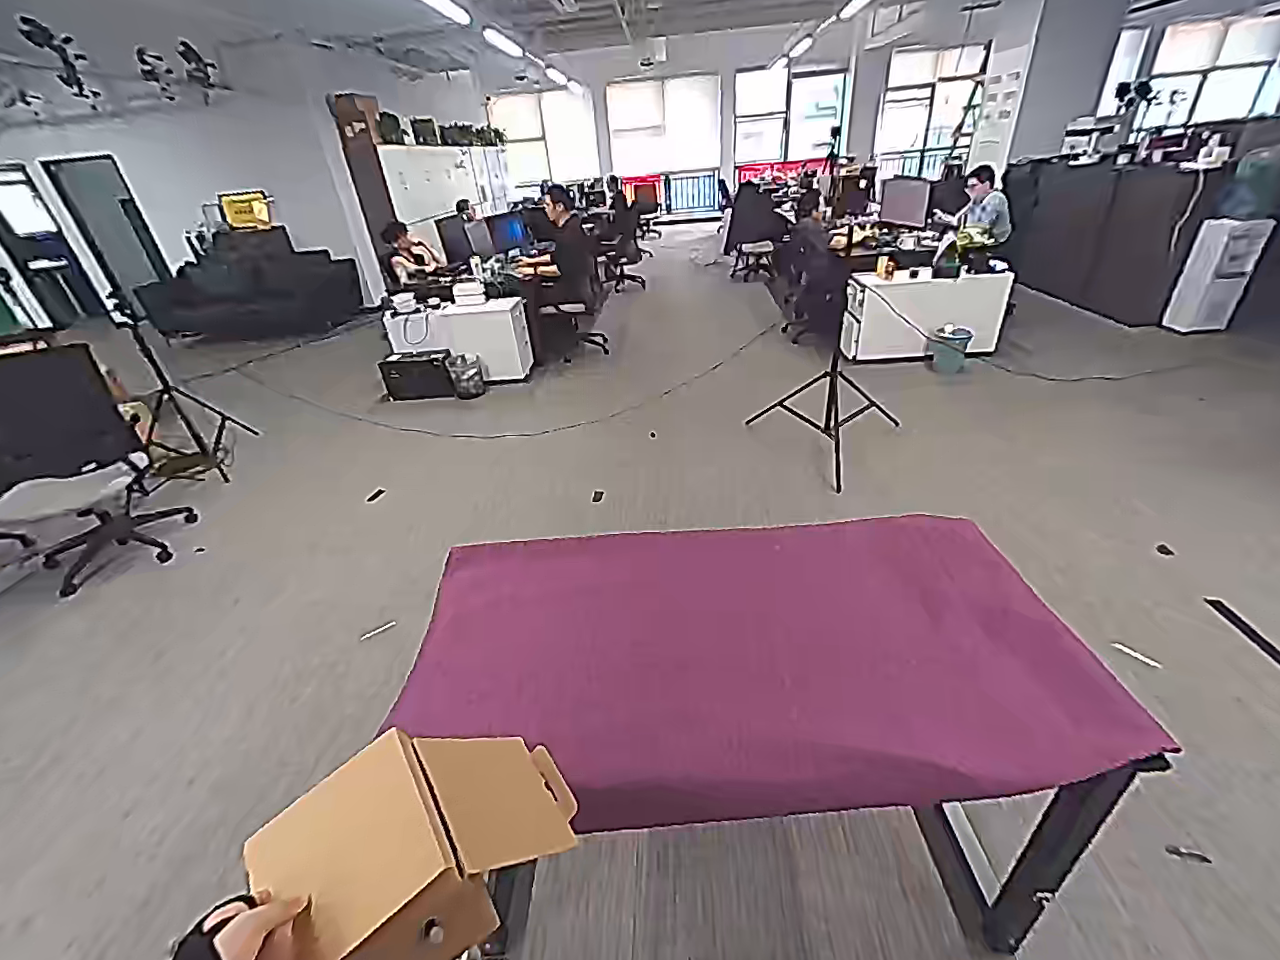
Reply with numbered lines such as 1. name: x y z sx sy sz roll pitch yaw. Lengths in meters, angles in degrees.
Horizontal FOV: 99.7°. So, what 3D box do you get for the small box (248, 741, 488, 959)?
1. small box: -0.278 0.432 0.580 0.179 0.176 0.168 -25 43 -26
